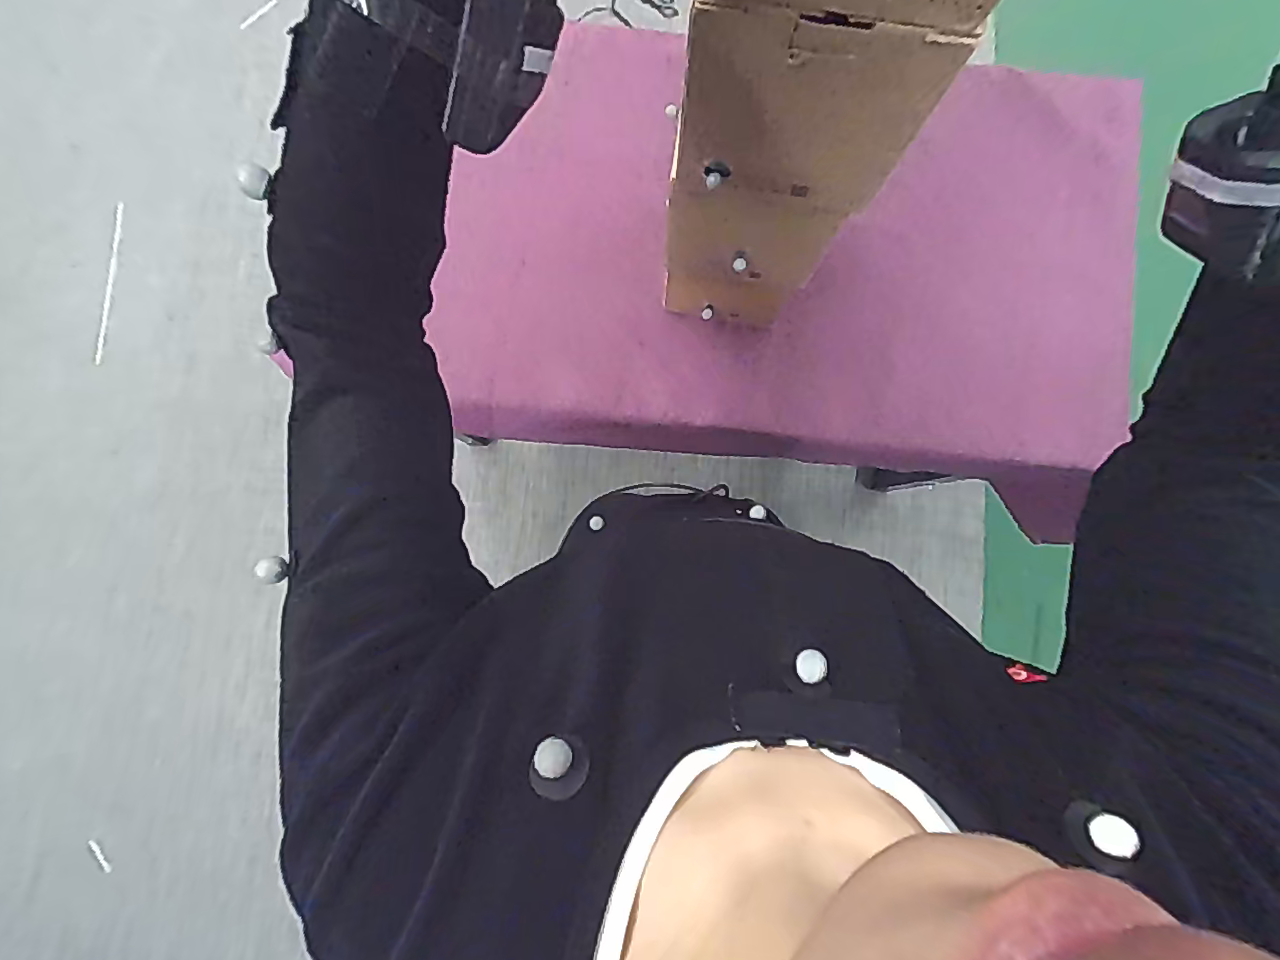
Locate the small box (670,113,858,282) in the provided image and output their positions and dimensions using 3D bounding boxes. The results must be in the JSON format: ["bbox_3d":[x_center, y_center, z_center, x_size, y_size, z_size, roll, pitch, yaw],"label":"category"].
[{"bbox_3d":[0.123,-0.333,0.557,0.168,0.176,0.179,8,85,2],"label":"small box"}]

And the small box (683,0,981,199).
[{"bbox_3d":[0.125,-0.339,0.393,0.168,0.176,0.179,9,84,1],"label":"small box"}]

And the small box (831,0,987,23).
[{"bbox_3d":[0.124,-0.359,0.231,0.168,0.176,0.179,10,84,2],"label":"small box"}]

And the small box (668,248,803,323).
[{"bbox_3d":[0.131,-0.333,0.721,0.168,0.176,0.179,10,85,2],"label":"small box"}]
